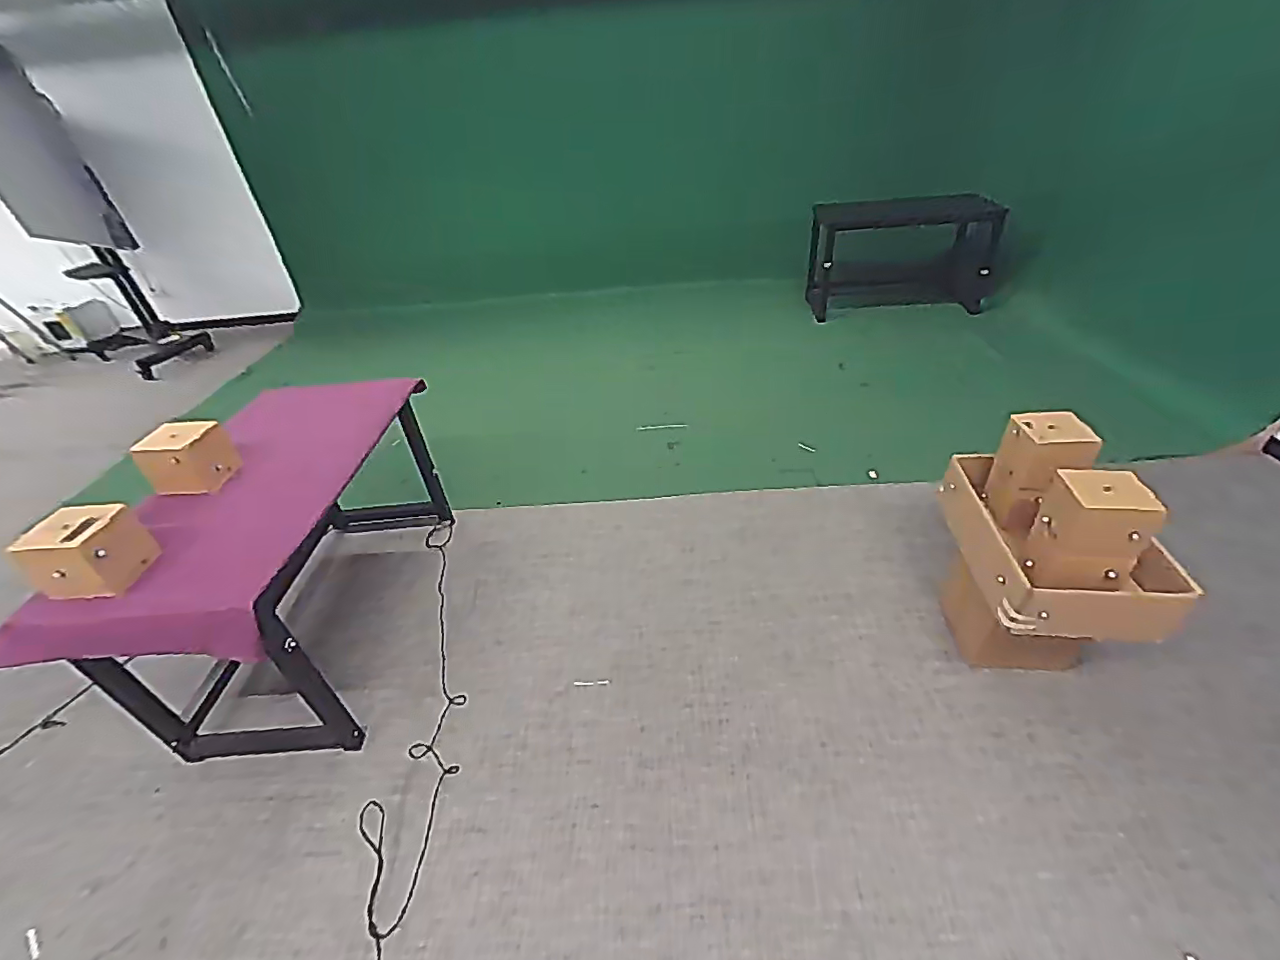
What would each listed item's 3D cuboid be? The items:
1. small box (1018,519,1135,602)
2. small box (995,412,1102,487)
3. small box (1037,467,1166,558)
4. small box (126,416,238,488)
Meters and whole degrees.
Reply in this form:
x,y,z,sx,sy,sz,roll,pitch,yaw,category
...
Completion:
x,y,z,sx,sy,sz,roll,pitch,yaw,category
1.195,0.218,1.498,0.179,0.176,0.168,4,37,11,small box
1.222,-0.091,1.633,0.179,0.176,0.168,-1,36,5,small box
1.183,0.086,1.404,0.179,0.176,0.168,3,37,11,small box
-1.425,-0.087,1.696,0.179,0.176,0.168,-1,37,2,small box
